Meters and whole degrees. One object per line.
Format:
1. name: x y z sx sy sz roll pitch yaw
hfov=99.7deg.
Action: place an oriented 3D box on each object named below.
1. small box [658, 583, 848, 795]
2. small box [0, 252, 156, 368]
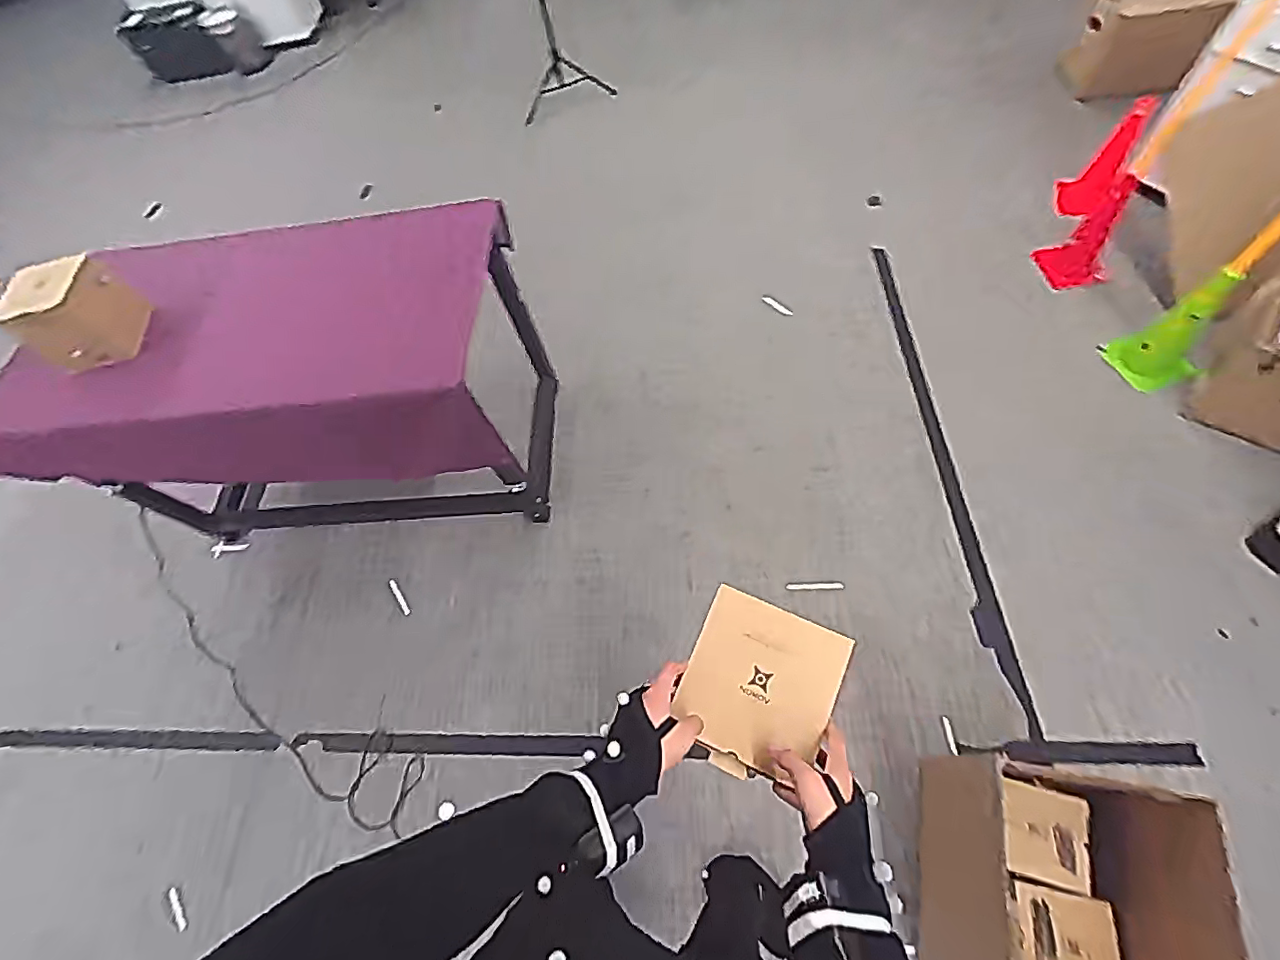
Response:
1. small box: 0.136 0.252 0.678 0.168 0.176 0.179 22 74 12
2. small box: -1.283 -0.389 1.252 0.168 0.176 0.179 -12 61 3
